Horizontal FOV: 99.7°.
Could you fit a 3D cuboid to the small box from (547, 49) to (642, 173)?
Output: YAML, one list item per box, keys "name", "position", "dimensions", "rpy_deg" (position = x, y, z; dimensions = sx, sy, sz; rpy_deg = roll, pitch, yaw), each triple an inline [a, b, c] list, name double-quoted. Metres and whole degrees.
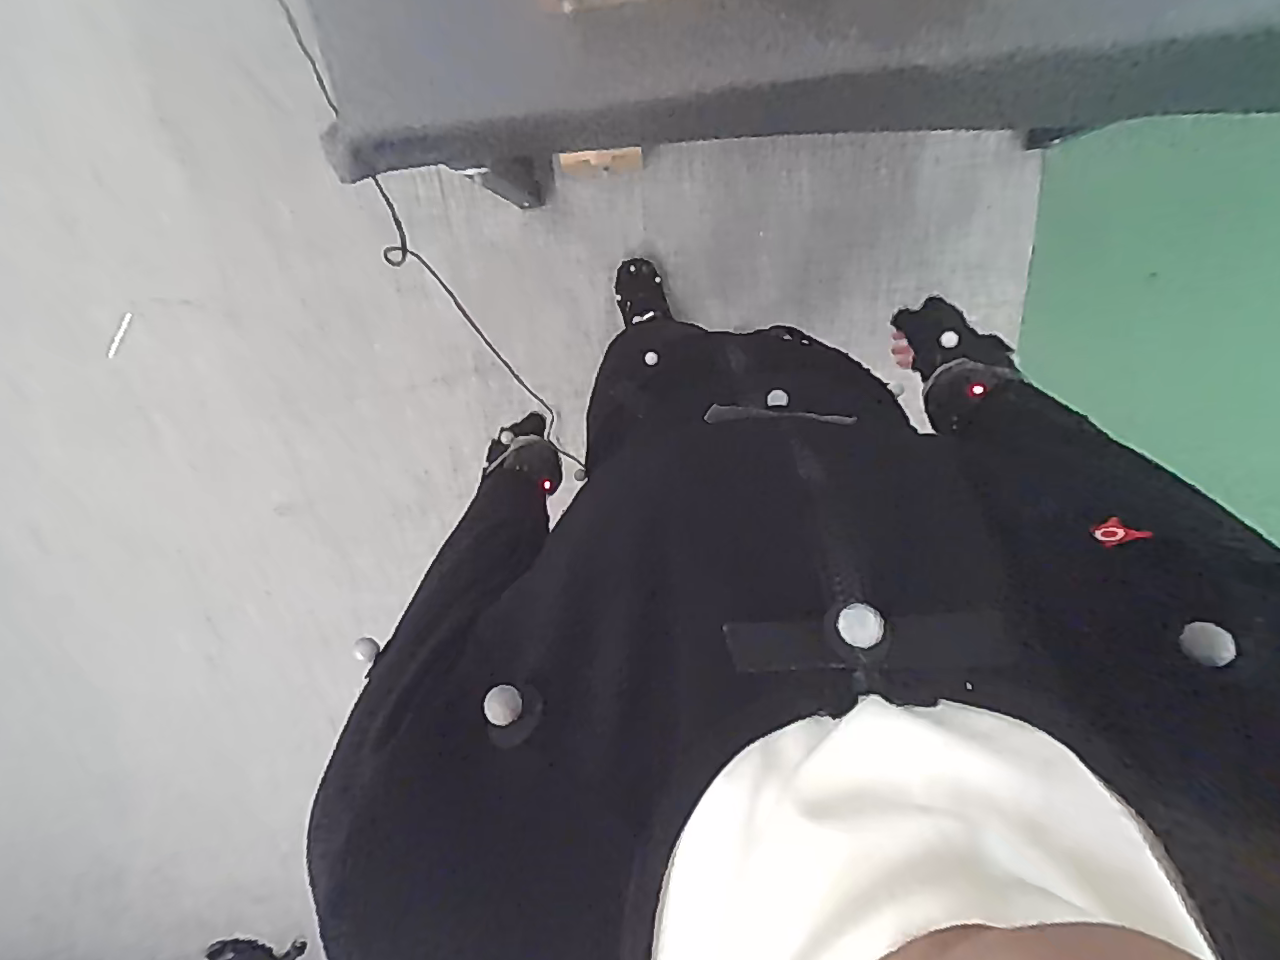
- name: "small box"
  position: [-0.085, -0.749, 1.119]
  dimensions: [0.168, 0.176, 0.179]
  rpy_deg: [-5, 110, 3]
